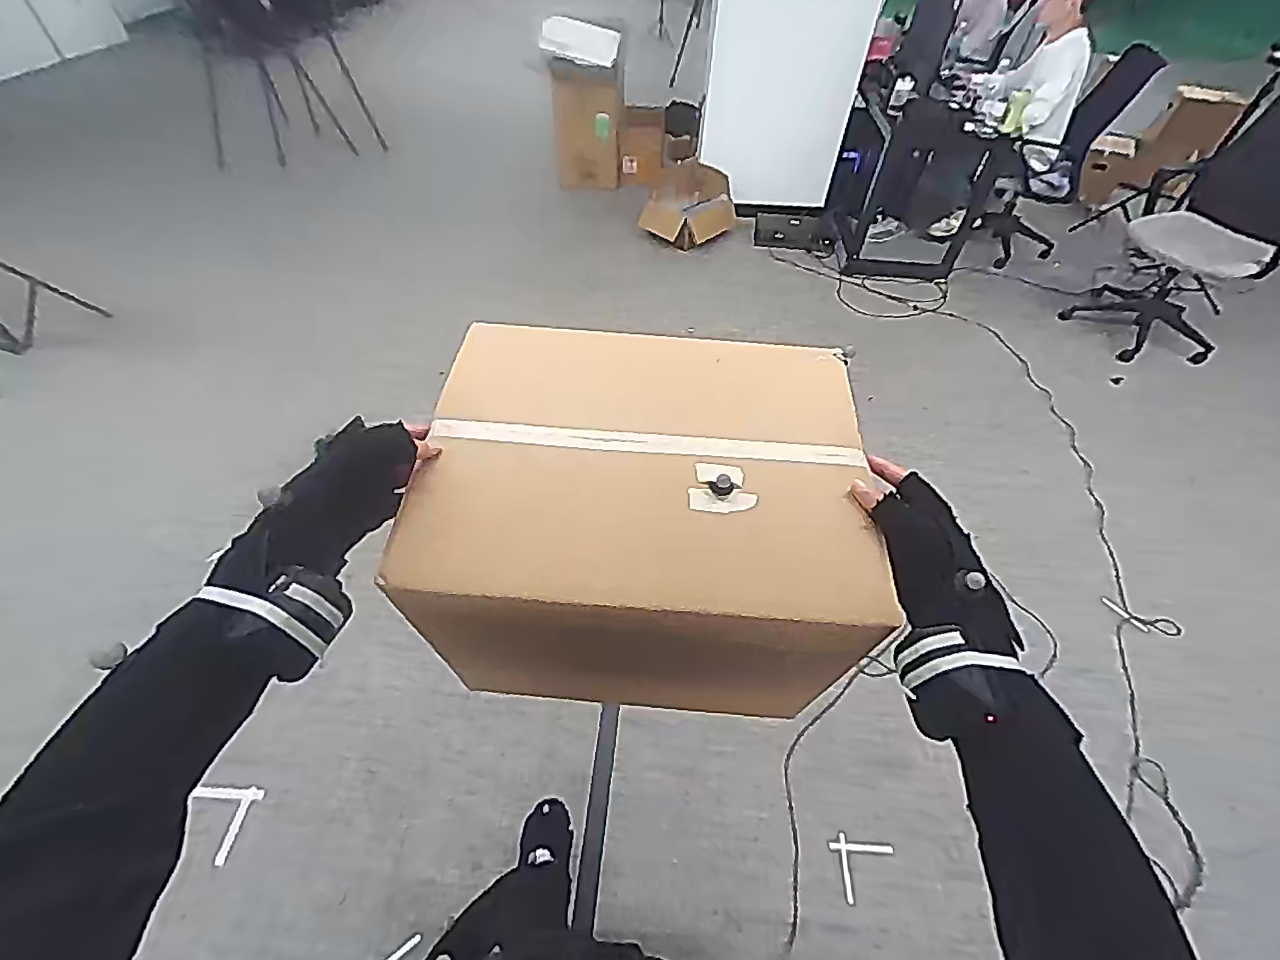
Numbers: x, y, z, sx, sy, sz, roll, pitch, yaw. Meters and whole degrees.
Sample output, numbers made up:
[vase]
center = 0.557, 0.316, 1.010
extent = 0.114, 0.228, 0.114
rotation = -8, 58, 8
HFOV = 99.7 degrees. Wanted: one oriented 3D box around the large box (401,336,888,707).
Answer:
[large box]
center = 0.004, 0.061, 0.639
extent = 0.408, 0.320, 0.320
rotation = 5, 55, 0
